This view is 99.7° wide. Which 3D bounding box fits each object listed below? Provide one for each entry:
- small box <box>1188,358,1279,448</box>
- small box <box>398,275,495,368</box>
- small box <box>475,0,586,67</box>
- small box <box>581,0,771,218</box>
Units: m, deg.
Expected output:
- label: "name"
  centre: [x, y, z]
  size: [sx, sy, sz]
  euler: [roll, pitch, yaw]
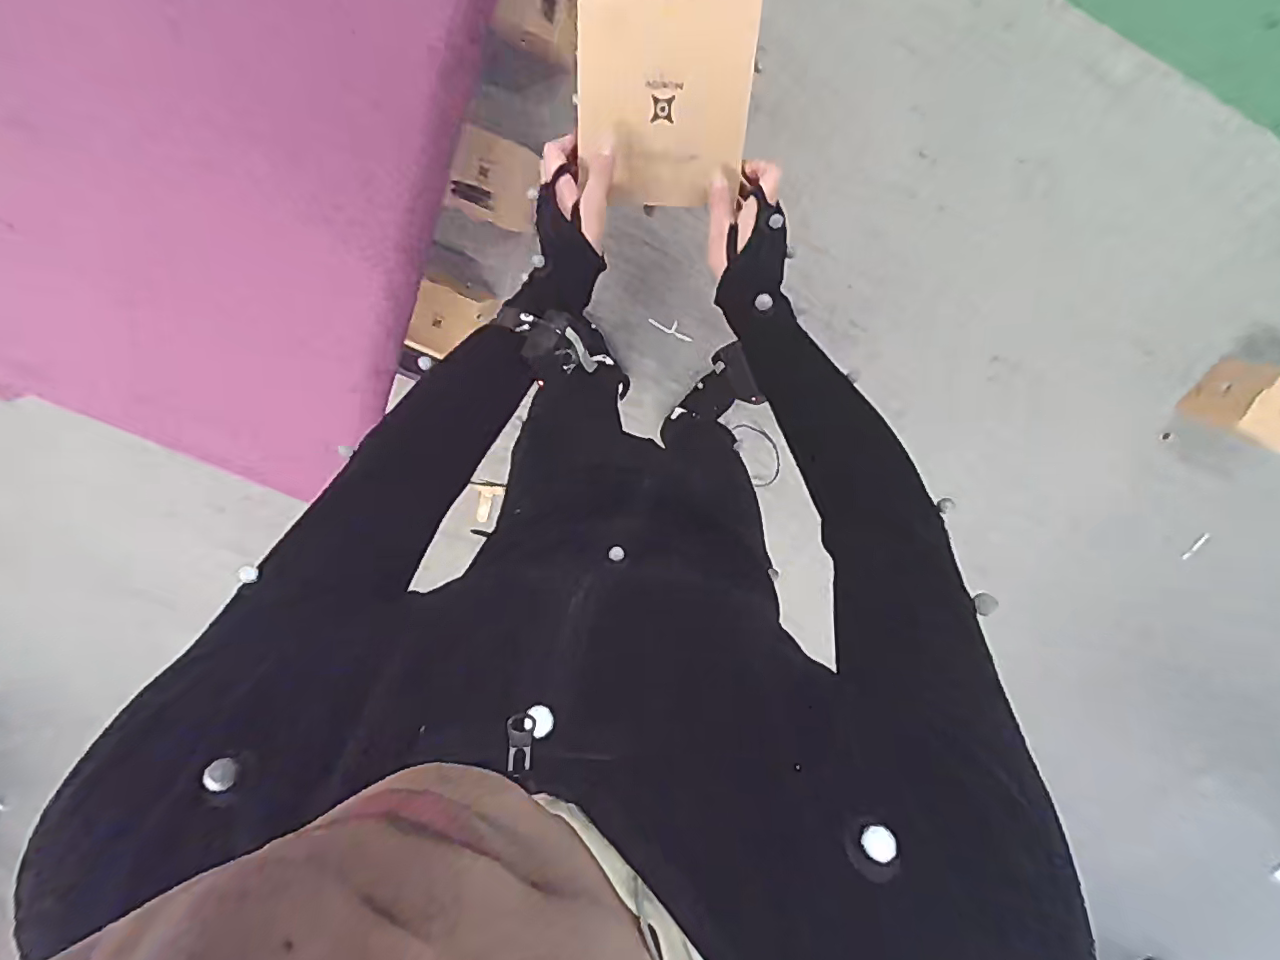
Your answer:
- label: "small box"
  centre: [1.593, -0.200, 1.385]
  size: [0.179, 0.176, 0.168]
  euler: [26, 111, -8]
- label: "small box"
  centre: [-0.495, -0.414, 1.400]
  size: [0.168, 0.176, 0.179]
  euler: [23, 111, -6]
- label: "small box"
  centre: [-0.218, -1.011, 1.136]
  size: [0.179, 0.176, 0.168]
  euler: [21, 111, -5]
- label: "small box"
  centre: [0.035, -0.388, 0.578]
  size: [0.168, 0.176, 0.179]
  euler: [7, 120, 4]
